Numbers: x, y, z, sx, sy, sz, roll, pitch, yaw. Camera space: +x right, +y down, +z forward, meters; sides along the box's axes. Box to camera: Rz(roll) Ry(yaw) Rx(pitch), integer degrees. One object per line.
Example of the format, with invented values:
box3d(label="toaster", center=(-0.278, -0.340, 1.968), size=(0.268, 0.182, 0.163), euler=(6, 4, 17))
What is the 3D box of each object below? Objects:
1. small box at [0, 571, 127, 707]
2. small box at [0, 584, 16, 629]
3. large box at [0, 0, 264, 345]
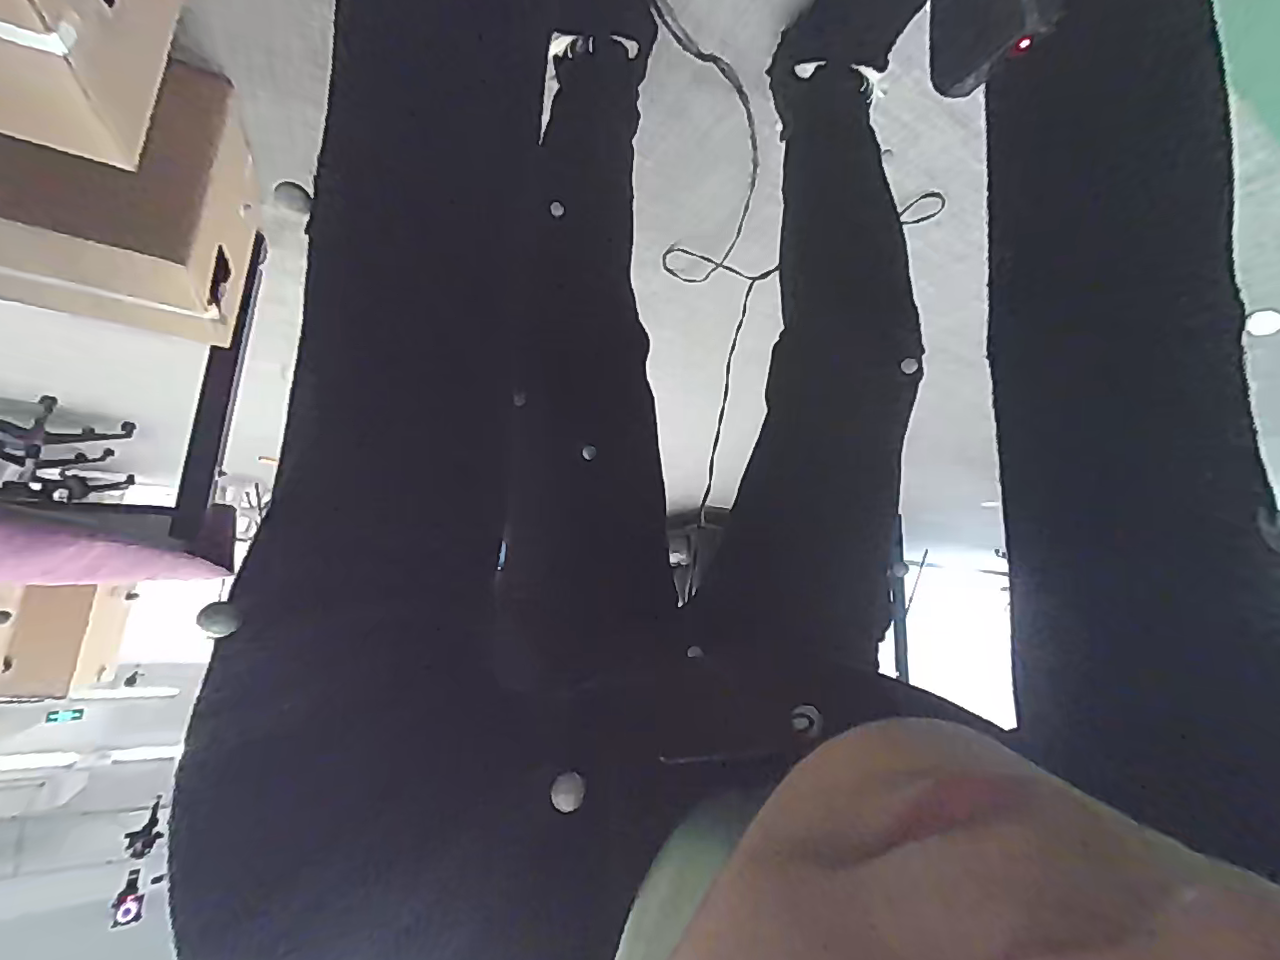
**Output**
box3d(label="small box", center=(-0.901, 0.226, 0.793), size=(0.179, 0.176, 0.168), euler=(11, 166, -25))
box3d(label="small box", center=(-0.732, 0.167, 0.477), size=(0.179, 0.176, 0.168), euler=(11, 167, -28))
box3d(label="large box", center=(-0.854, -0.447, 0.810), size=(0.408, 0.320, 0.320), euler=(11, 166, -26))
